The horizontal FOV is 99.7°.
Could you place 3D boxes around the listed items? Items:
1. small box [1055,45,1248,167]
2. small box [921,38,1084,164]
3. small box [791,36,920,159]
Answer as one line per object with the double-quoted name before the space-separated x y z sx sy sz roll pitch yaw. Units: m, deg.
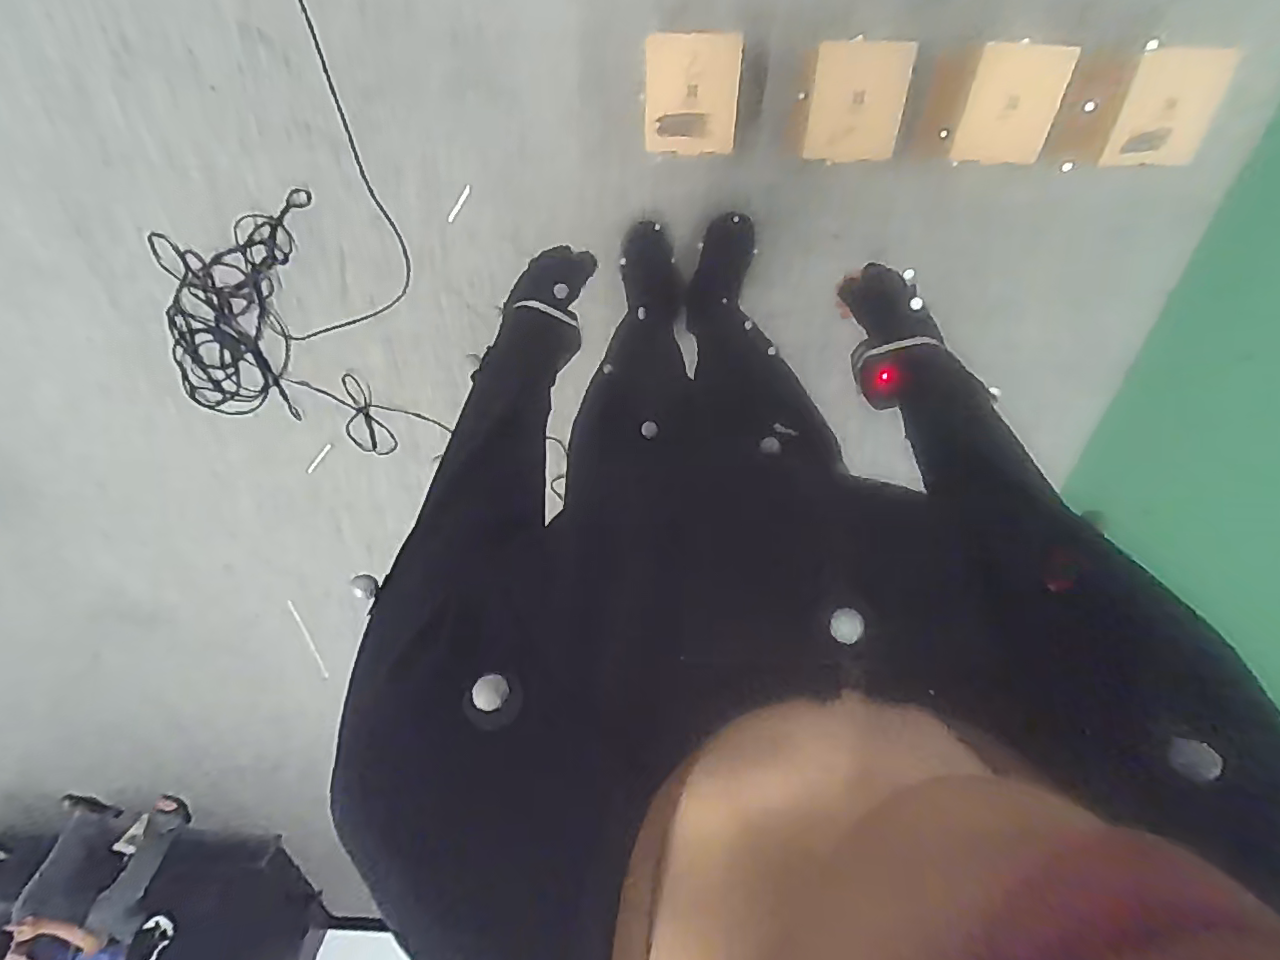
"small box" 0.926 -0.692 1.006 0.168 0.176 0.179 1 124 2
"small box" 0.657 -0.703 1.011 0.168 0.176 0.179 3 125 0
"small box" 0.389 -0.711 1.014 0.168 0.176 0.179 2 125 2
